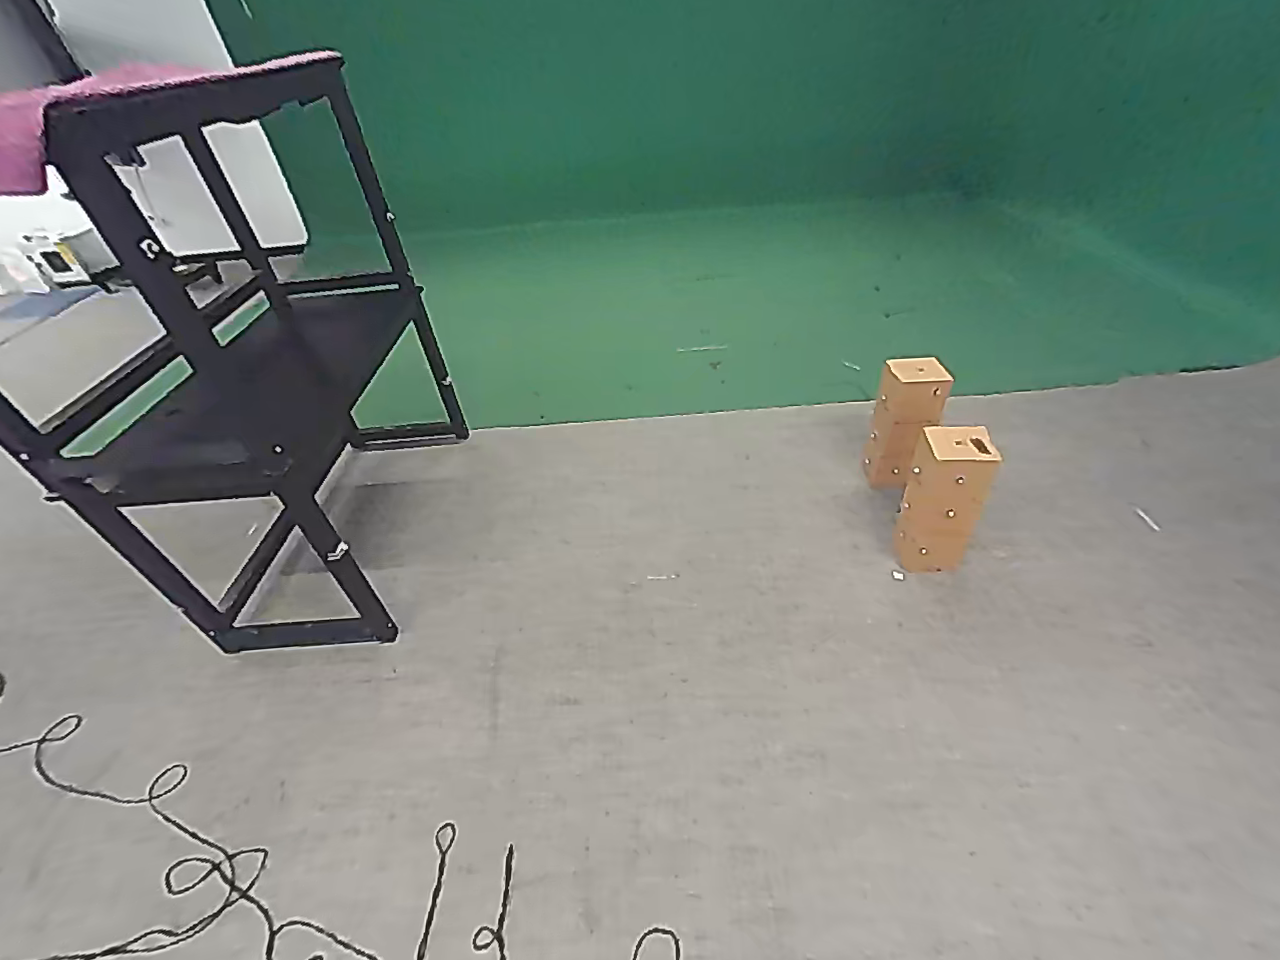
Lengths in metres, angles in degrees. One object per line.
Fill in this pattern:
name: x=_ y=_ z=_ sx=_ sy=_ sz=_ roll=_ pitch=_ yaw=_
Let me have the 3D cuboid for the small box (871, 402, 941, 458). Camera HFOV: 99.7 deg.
small box: x=1.005 y=-0.199 z=2.056 sx=0.179 sy=0.176 sz=0.168 roll=-4 pitch=40 yaw=4

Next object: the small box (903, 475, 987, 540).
small box: x=0.976 y=0.080 z=1.746 sx=0.179 sy=0.176 sz=0.168 roll=1 pitch=42 yaw=9

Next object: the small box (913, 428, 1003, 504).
small box: x=0.954 y=-0.042 z=1.638 sx=0.179 sy=0.176 sz=0.168 roll=1 pitch=42 yaw=11

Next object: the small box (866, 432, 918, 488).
small box: x=1.019 y=-0.080 z=2.166 sx=0.179 sy=0.176 sz=0.168 roll=-2 pitch=42 yaw=6

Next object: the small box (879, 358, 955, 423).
small box: x=0.988 y=-0.321 z=1.946 sx=0.179 sy=0.176 sz=0.168 roll=-3 pitch=40 yaw=3
